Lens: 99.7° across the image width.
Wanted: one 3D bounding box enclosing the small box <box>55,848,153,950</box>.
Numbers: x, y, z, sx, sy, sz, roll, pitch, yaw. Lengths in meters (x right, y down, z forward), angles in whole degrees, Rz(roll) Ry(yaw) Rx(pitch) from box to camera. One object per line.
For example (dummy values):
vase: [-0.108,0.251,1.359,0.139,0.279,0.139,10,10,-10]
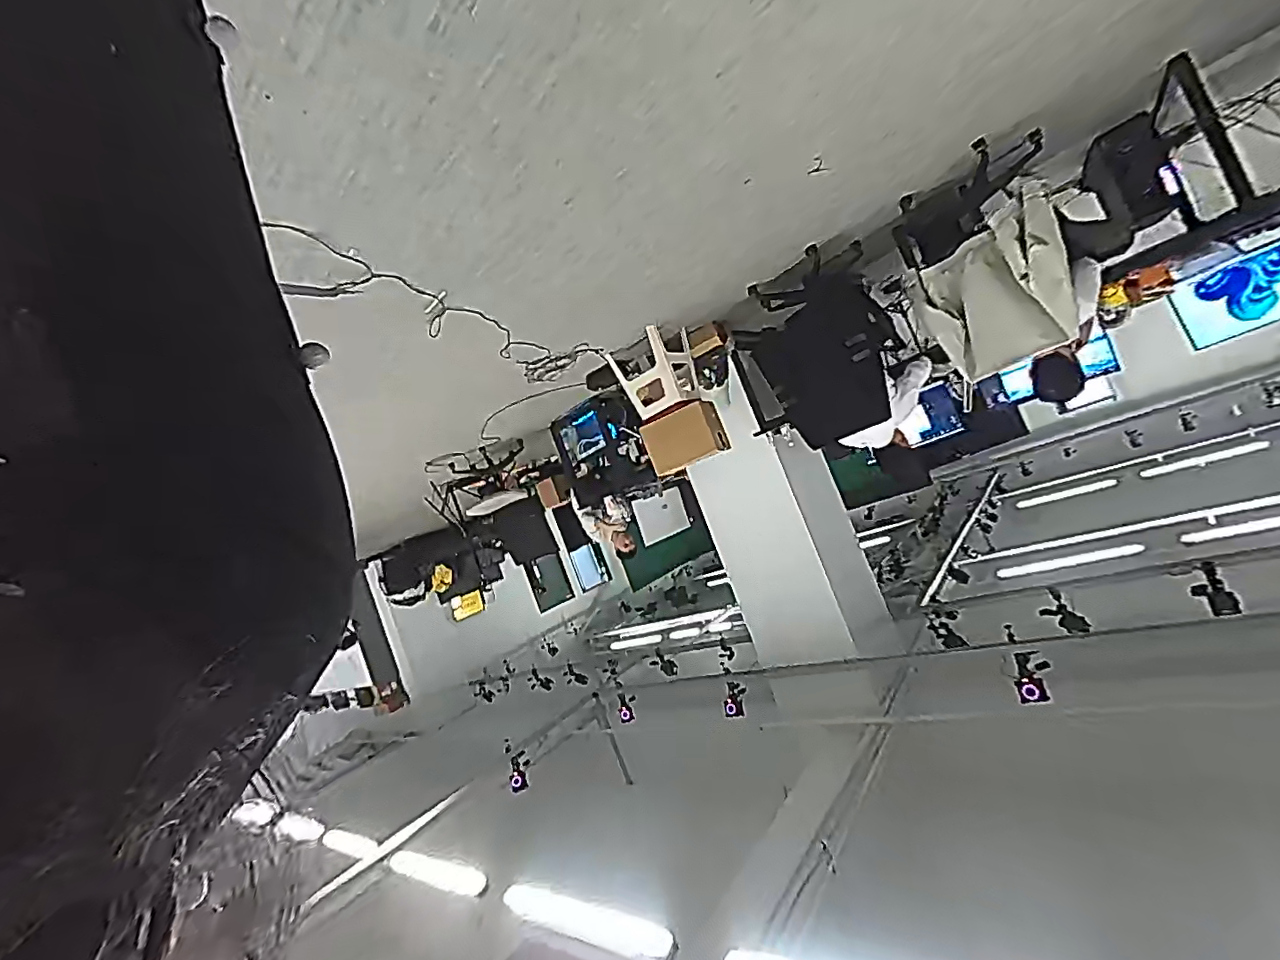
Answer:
small box: [-1.630,1.261,1.640,0.168,0.176,0.179,-24,176,37]
